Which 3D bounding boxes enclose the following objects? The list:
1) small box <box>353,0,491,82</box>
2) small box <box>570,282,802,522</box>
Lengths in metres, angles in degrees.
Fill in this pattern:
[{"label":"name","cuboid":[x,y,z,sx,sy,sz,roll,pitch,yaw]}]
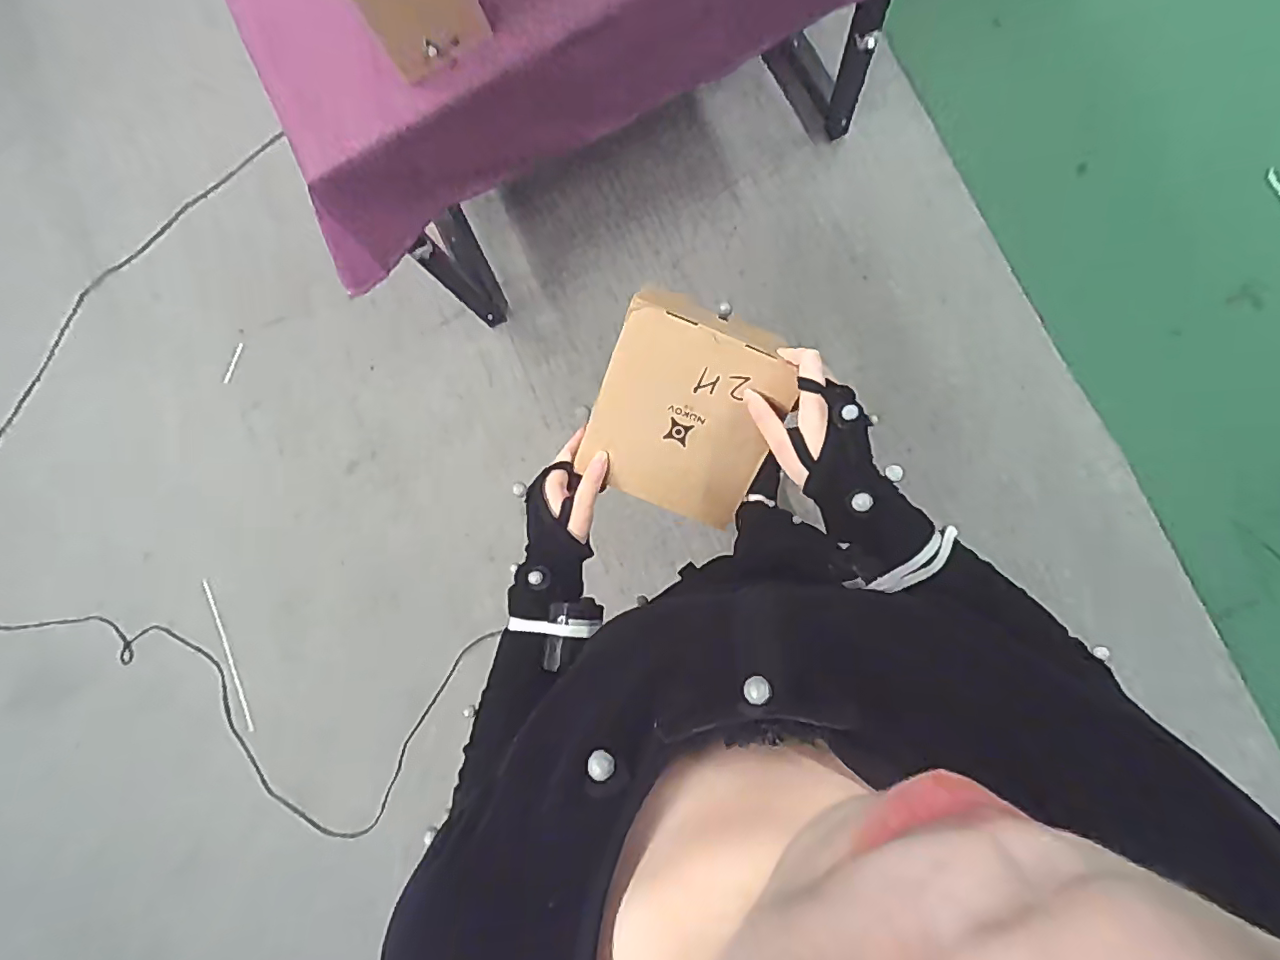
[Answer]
[{"label":"small box","cuboid":[-0.359,-0.778,0.833,0.168,0.176,0.179,-26,83,5]},{"label":"small box","cuboid":[0.046,-0.091,0.571,0.168,0.176,0.179,22,114,-4]}]
